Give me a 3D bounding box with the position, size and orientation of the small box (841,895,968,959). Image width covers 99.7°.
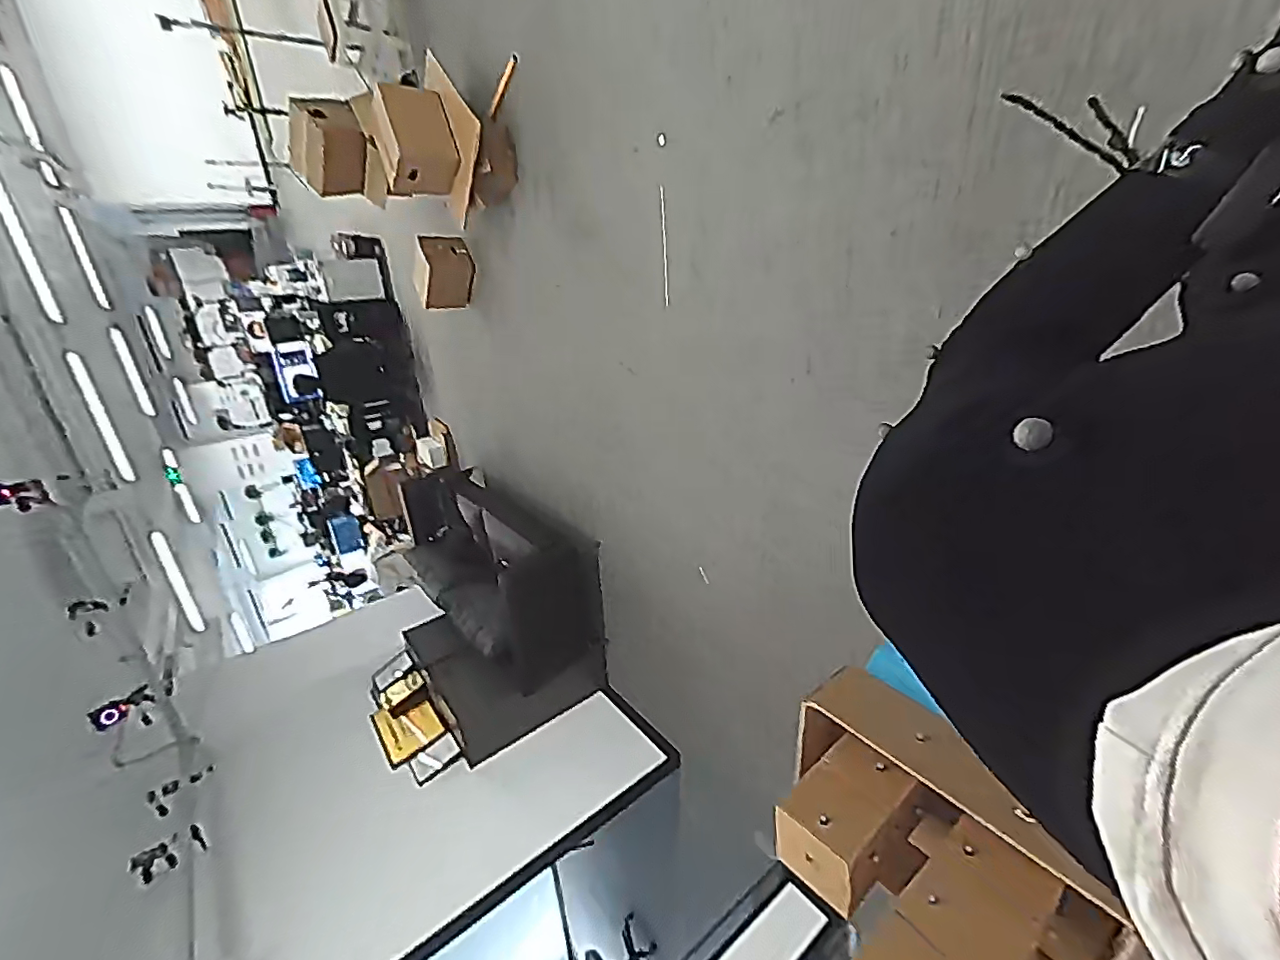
[{"bbox_3d":[0.450,0.855,0.895,0.179,0.176,0.168,30,132,49],"label":"small box"}]

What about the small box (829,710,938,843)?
[{"bbox_3d":[0.559,0.669,1.245,0.179,0.176,0.168,21,125,48],"label":"small box"}]

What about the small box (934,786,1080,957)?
[{"bbox_3d":[0.716,0.752,1.060,0.179,0.176,0.168,28,131,50],"label":"small box"}]

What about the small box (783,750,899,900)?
[{"bbox_3d":[0.431,0.723,1.158,0.179,0.176,0.168,21,125,50],"label":"small box"}]
